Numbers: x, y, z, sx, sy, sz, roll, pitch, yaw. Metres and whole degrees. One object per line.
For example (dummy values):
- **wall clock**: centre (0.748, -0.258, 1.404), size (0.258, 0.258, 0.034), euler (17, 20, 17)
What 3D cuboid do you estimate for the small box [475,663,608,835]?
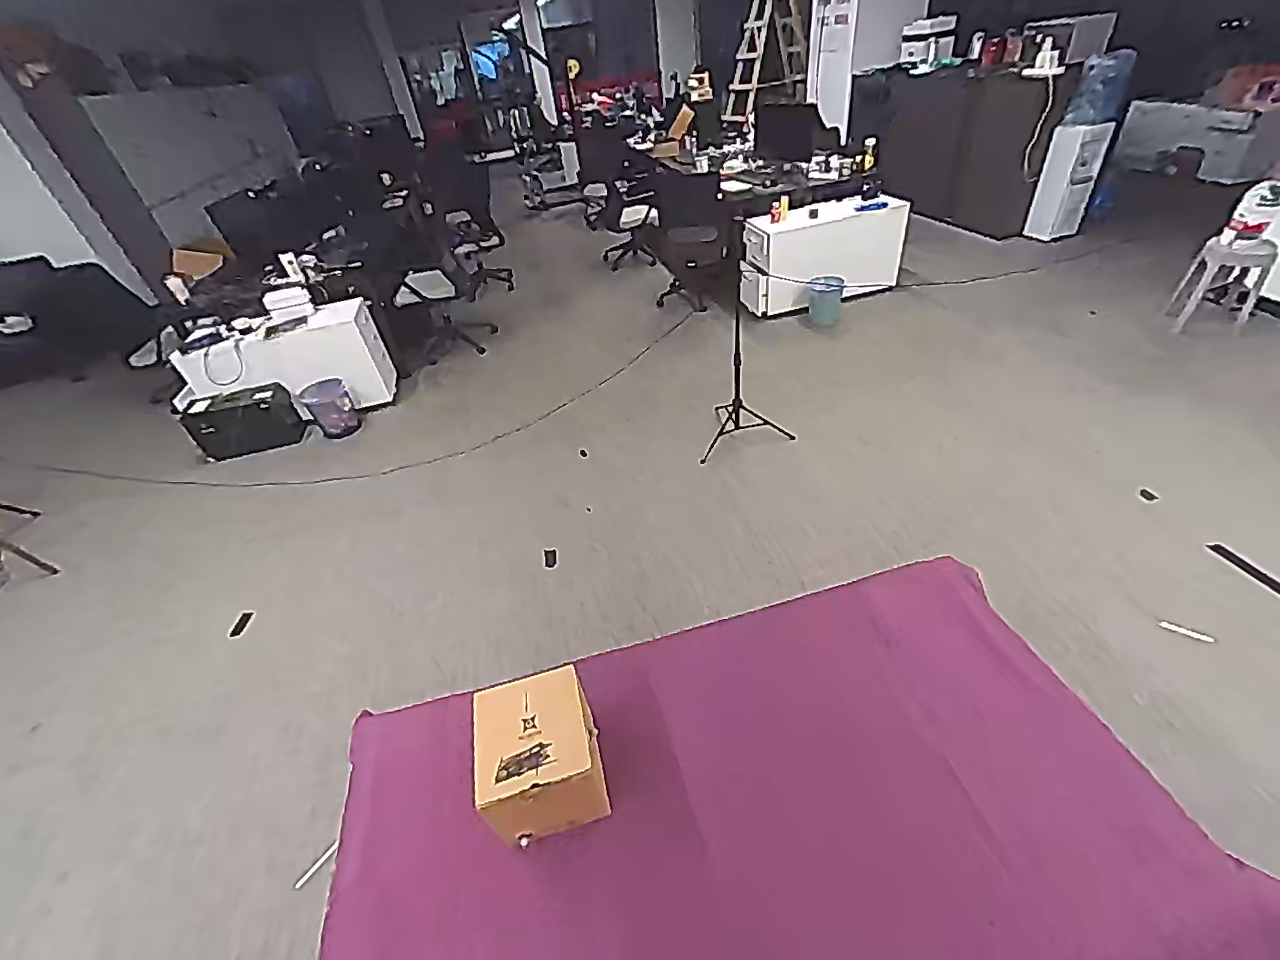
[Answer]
- **small box**: centre (-0.155, 0.430, 0.857), size (0.168, 0.176, 0.179), euler (-14, 39, -7)
